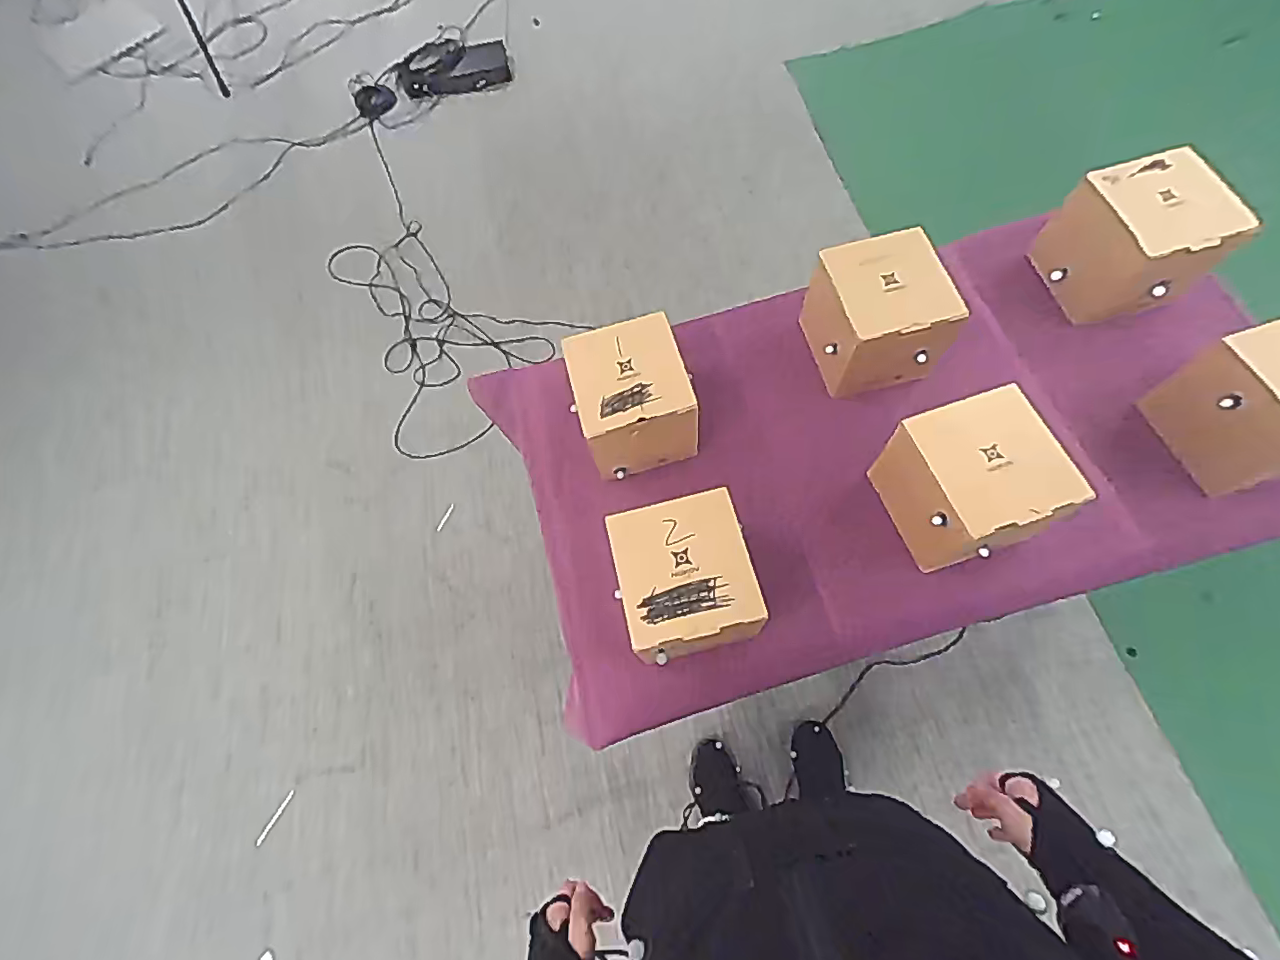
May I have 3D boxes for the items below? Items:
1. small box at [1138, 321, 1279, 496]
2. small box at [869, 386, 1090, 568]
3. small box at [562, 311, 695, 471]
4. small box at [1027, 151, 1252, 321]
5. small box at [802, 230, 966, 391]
[{"bbox_3d":[0.871,-0.102,0.754,0.168,0.176,0.179,-17,67,1],"label":"small box"},{"bbox_3d":[0.452,0.003,0.759,0.168,0.176,0.179,-18,67,-2],"label":"small box"},{"bbox_3d":[-0.012,-0.128,0.857,0.168,0.176,0.179,-15,67,-1],"label":"small box"},{"bbox_3d":[0.787,-0.381,0.877,0.168,0.176,0.179,-15,70,0],"label":"small box"},{"bbox_3d":[0.378,-0.261,0.875,0.168,0.176,0.179,-13,67,0],"label":"small box"}]
